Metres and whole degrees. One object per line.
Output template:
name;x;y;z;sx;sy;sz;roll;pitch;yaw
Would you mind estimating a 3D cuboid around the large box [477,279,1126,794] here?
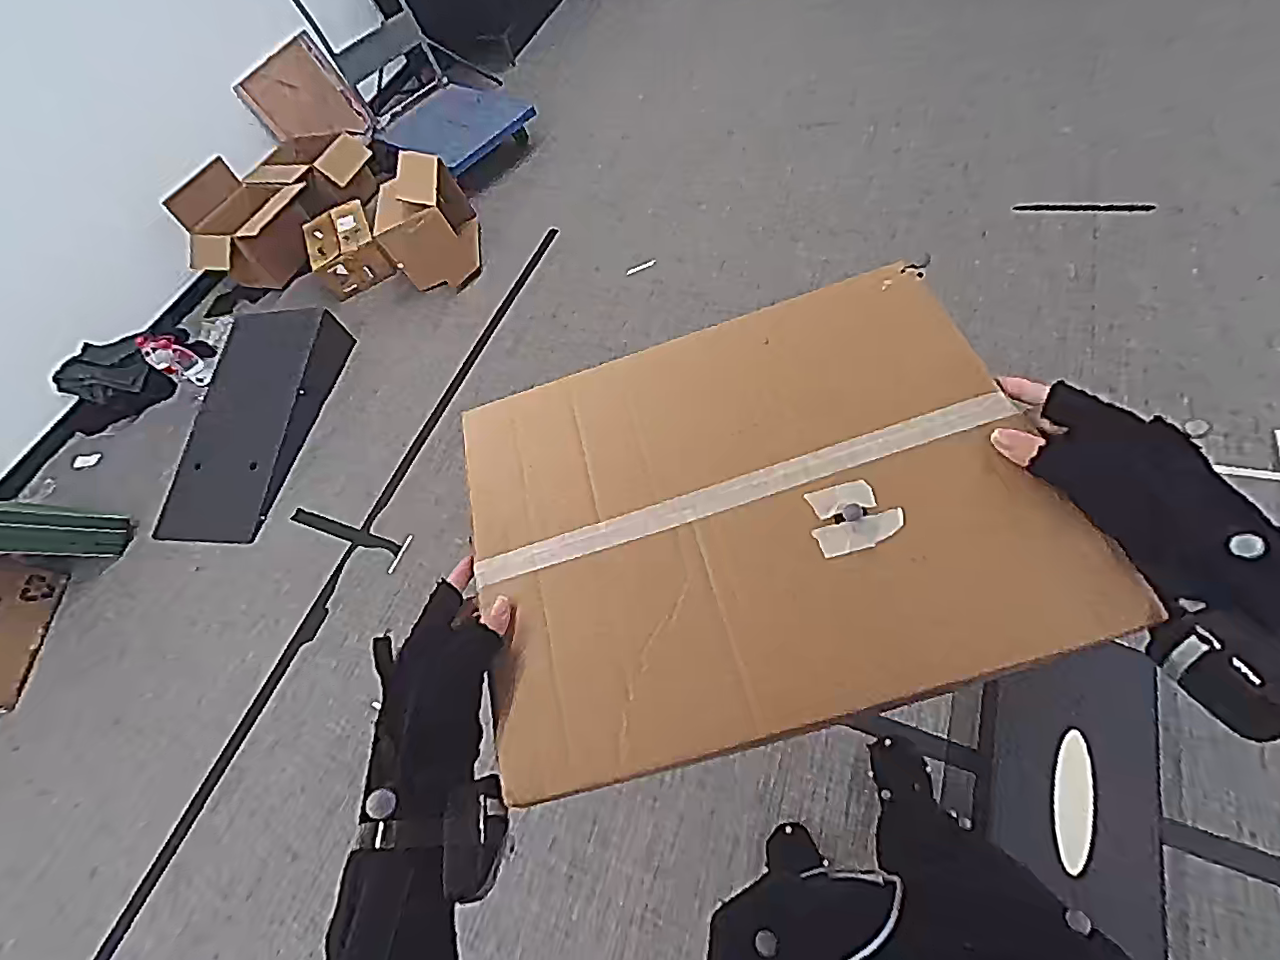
large box;0.103;0.080;0.540;0.408;0.320;0.320;-18;62;3
